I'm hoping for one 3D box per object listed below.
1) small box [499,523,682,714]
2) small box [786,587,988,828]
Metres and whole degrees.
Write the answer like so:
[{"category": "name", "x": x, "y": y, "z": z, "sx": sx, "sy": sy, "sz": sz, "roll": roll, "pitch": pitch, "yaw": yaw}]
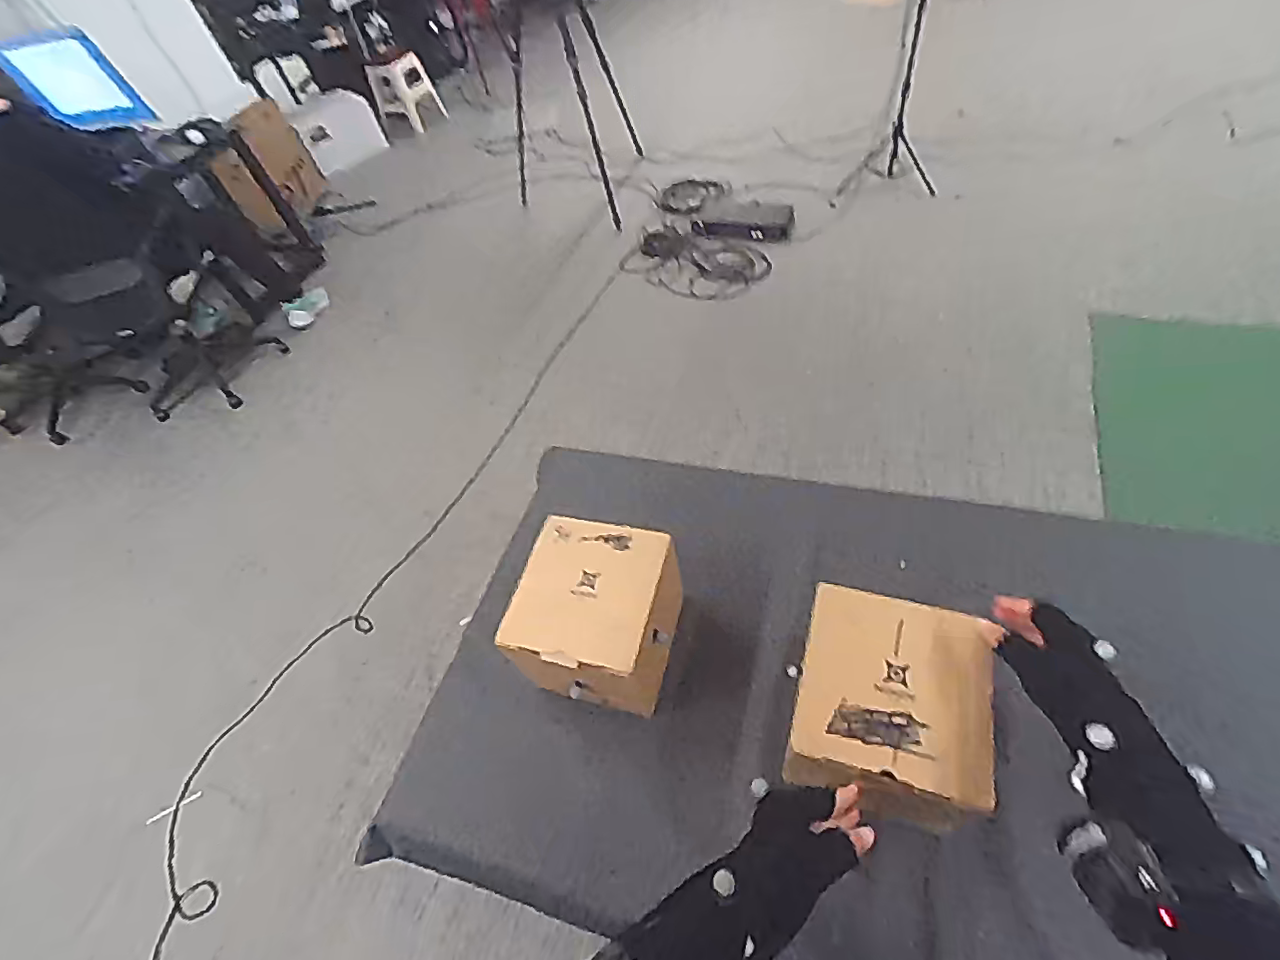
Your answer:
[{"category": "small box", "x": -0.048, "y": 0.181, "z": 0.699, "sx": 0.168, "sy": 0.176, "sz": 0.179, "roll": 7, "pitch": 55, "yaw": 18}, {"category": "small box", "x": 0.255, "y": 0.246, "z": 0.580, "sx": 0.168, "sy": 0.176, "sz": 0.179, "roll": 10, "pitch": 54, "yaw": 20}]
